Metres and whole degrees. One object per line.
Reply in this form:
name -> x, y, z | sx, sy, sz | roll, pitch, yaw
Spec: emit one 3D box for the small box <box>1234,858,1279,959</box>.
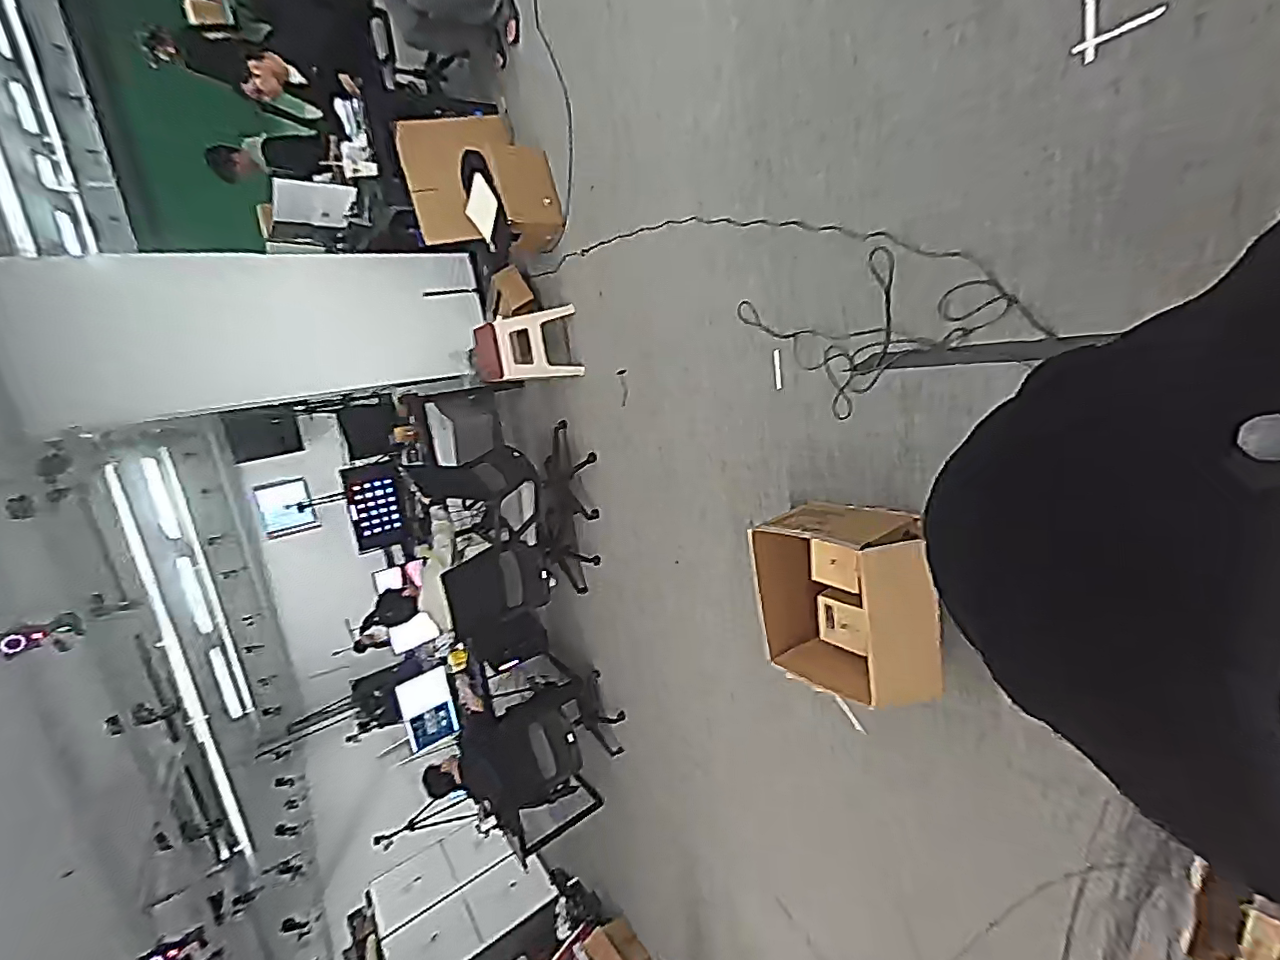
small box -> 1.300, 0.894, 1.047 | 0.168, 0.176, 0.179 | 16, 115, 52
